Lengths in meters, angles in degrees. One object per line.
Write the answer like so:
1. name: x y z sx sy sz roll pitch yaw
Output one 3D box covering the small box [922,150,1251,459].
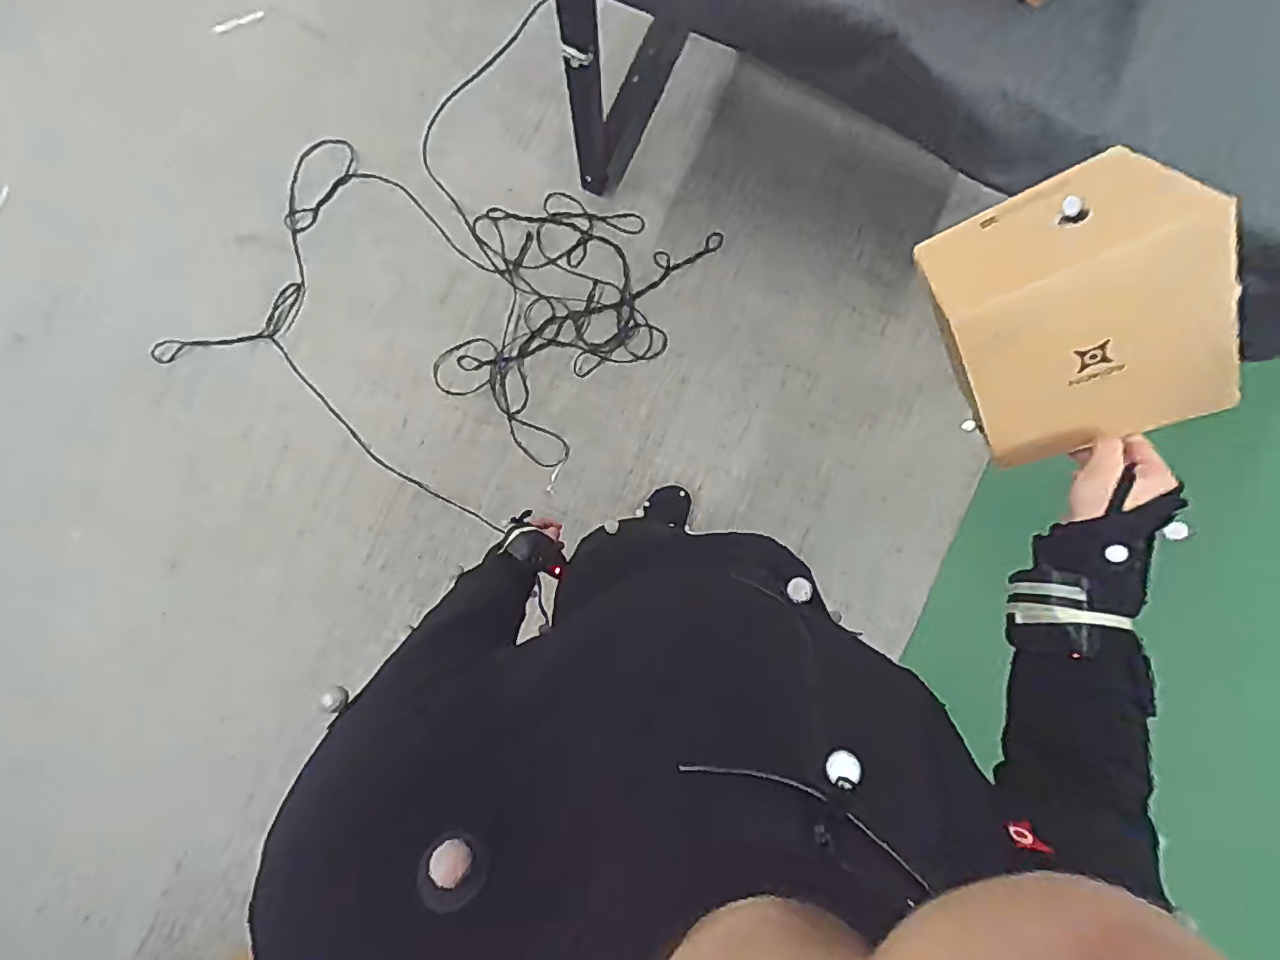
1. small box: 0.368 -0.155 0.472 0.168 0.176 0.179 -22 123 30
